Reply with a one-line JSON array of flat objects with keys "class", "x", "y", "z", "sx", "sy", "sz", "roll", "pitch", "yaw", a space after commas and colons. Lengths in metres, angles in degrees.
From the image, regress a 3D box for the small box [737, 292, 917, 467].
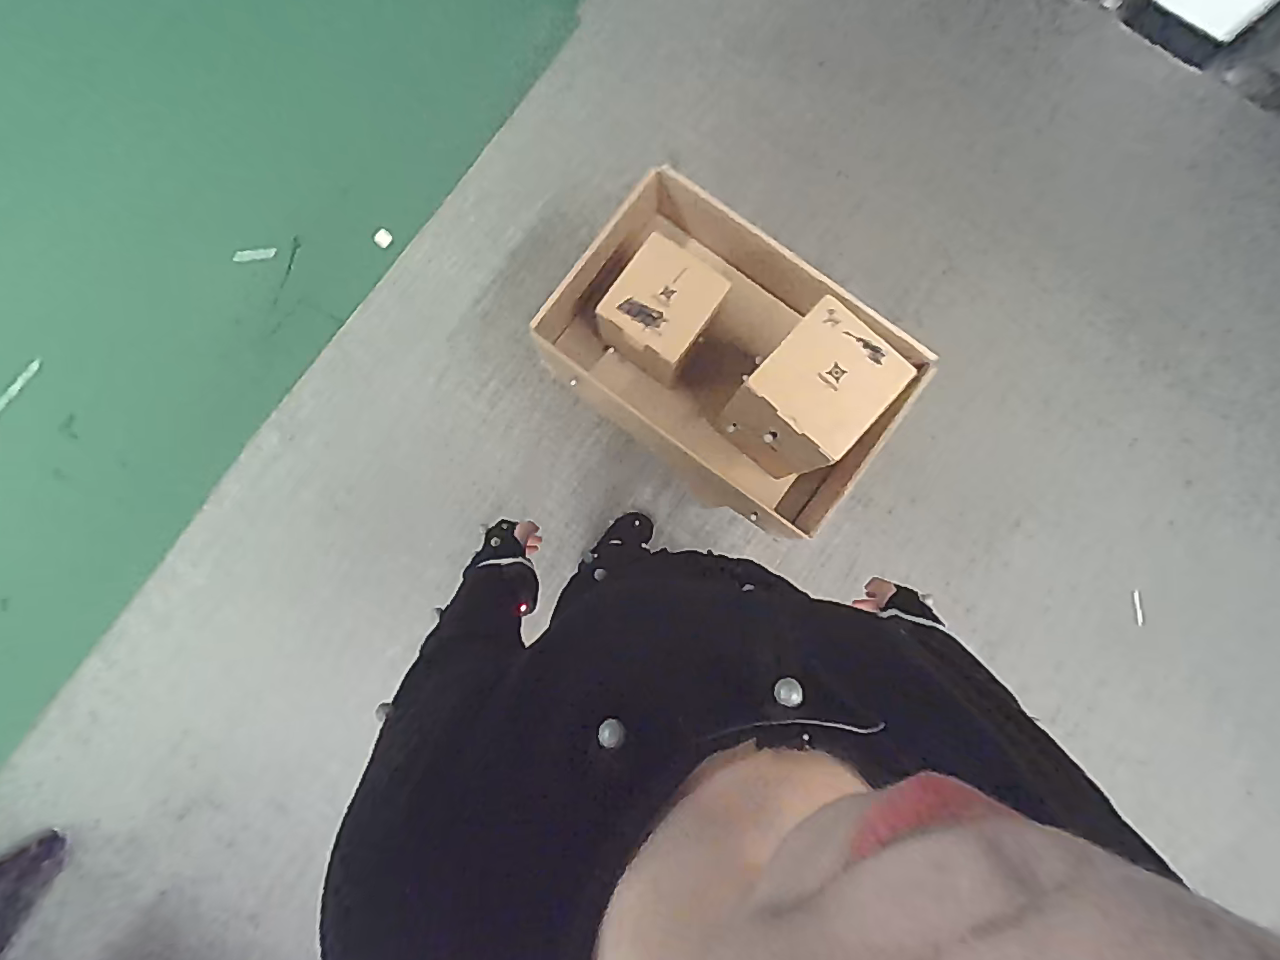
[{"class": "small box", "x": 0.262, "y": -0.136, "z": 0.811, "sx": 0.168, "sy": 0.176, "sz": 0.179, "roll": 43, "pitch": 88, "yaw": 3}]
